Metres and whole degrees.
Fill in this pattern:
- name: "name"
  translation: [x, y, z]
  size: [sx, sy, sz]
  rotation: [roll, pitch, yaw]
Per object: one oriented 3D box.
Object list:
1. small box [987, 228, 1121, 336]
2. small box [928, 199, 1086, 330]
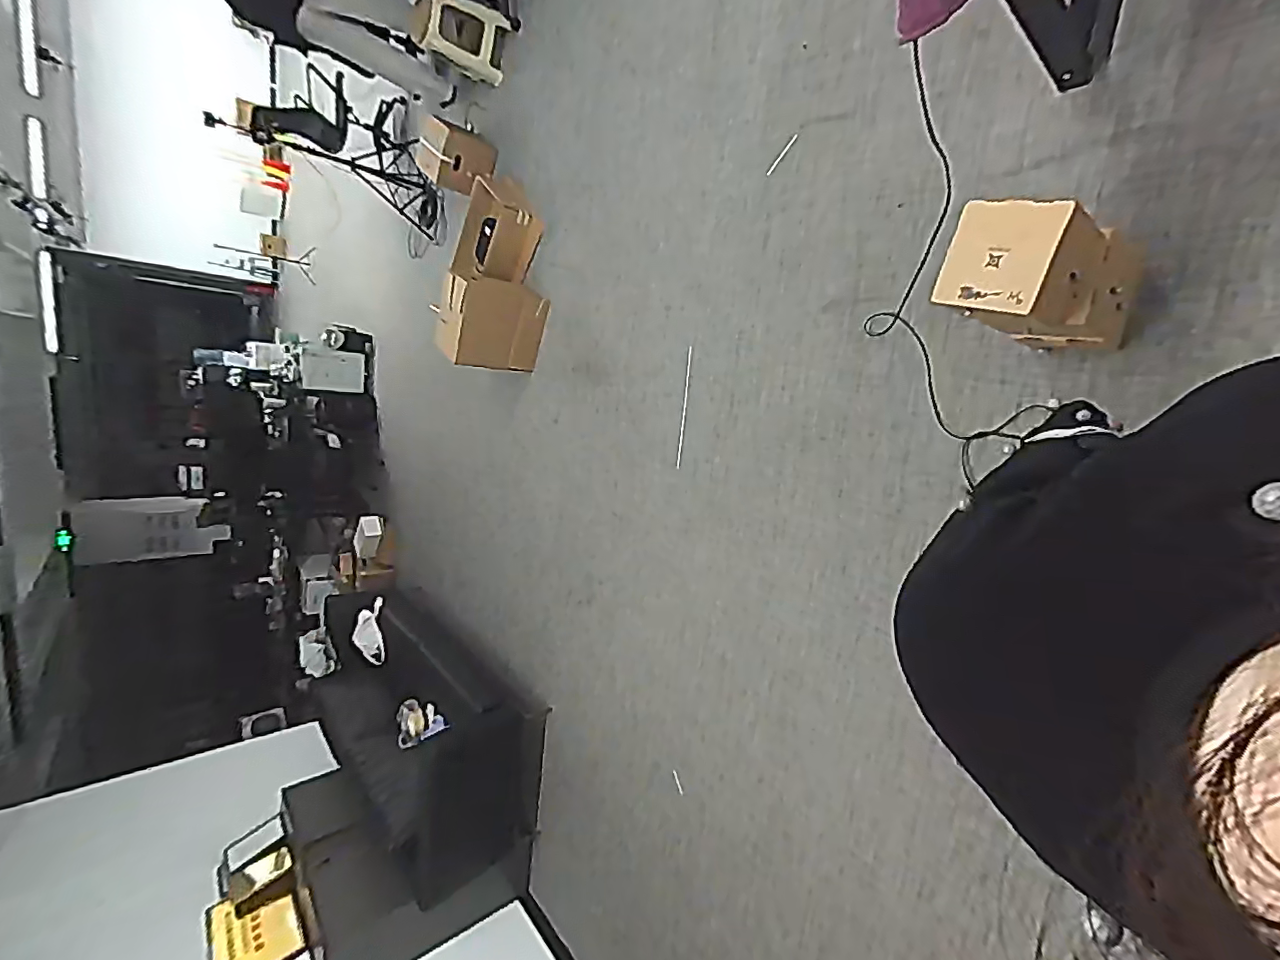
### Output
- name: "small box"
  translation: [0.798, -0.380, 1.060]
  size: [0.179, 0.176, 0.168]
  rotation: [21, 108, 46]
- name: "small box"
  translation: [0.660, -0.381, 0.968]
  size: [0.168, 0.176, 0.179]
  rotation: [31, 114, 44]
